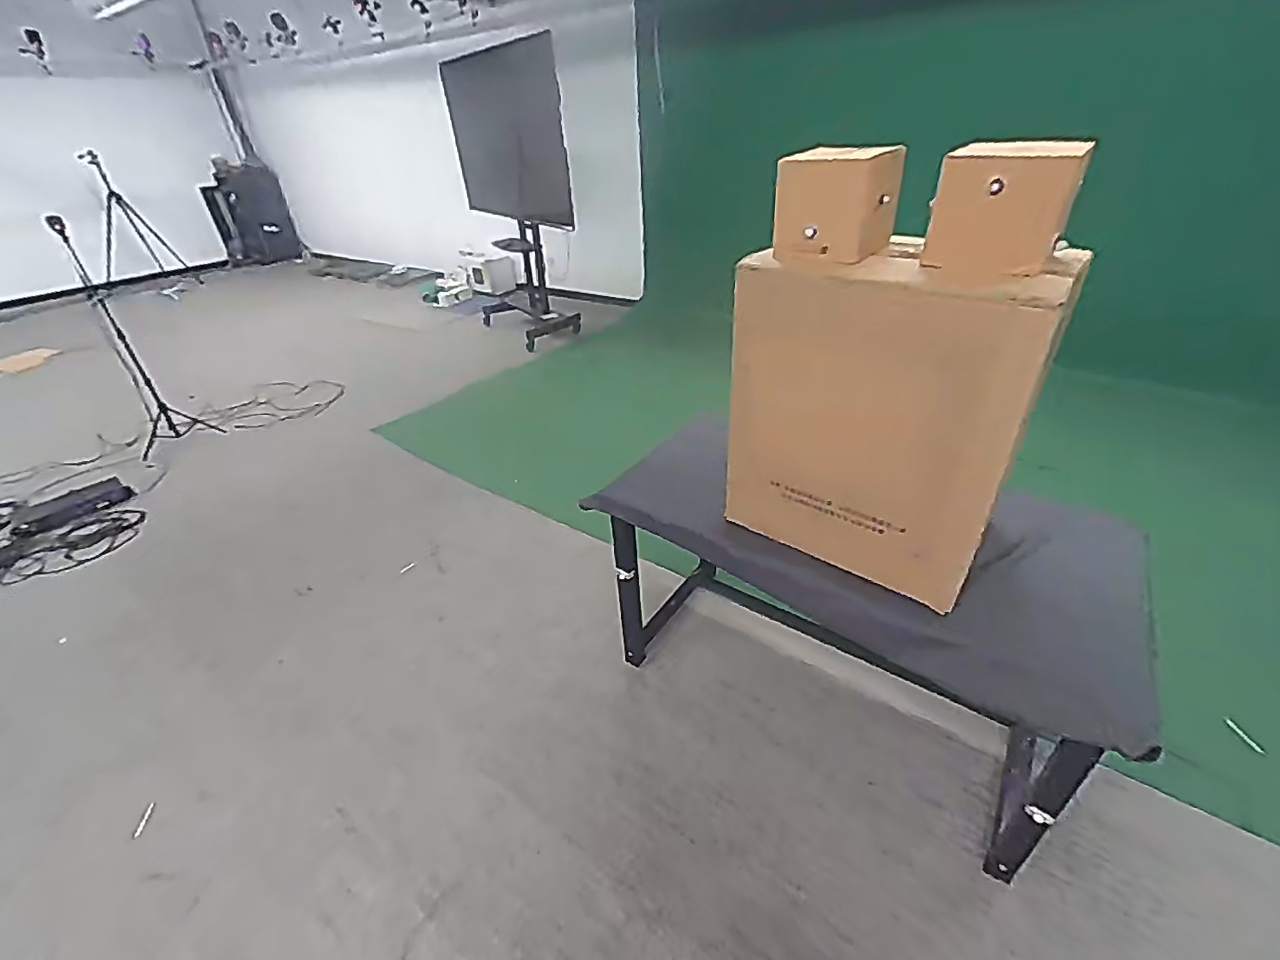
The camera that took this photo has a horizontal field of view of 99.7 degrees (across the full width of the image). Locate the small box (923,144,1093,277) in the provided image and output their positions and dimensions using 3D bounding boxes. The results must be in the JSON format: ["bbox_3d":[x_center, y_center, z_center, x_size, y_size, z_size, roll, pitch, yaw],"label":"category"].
[{"bbox_3d":[0.593,-0.443,0.886,0.179,0.176,0.168,24,45,31],"label":"small box"}]

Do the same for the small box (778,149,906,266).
[{"bbox_3d":[0.372,-0.515,1.016,0.168,0.176,0.179,22,44,34],"label":"small box"}]
